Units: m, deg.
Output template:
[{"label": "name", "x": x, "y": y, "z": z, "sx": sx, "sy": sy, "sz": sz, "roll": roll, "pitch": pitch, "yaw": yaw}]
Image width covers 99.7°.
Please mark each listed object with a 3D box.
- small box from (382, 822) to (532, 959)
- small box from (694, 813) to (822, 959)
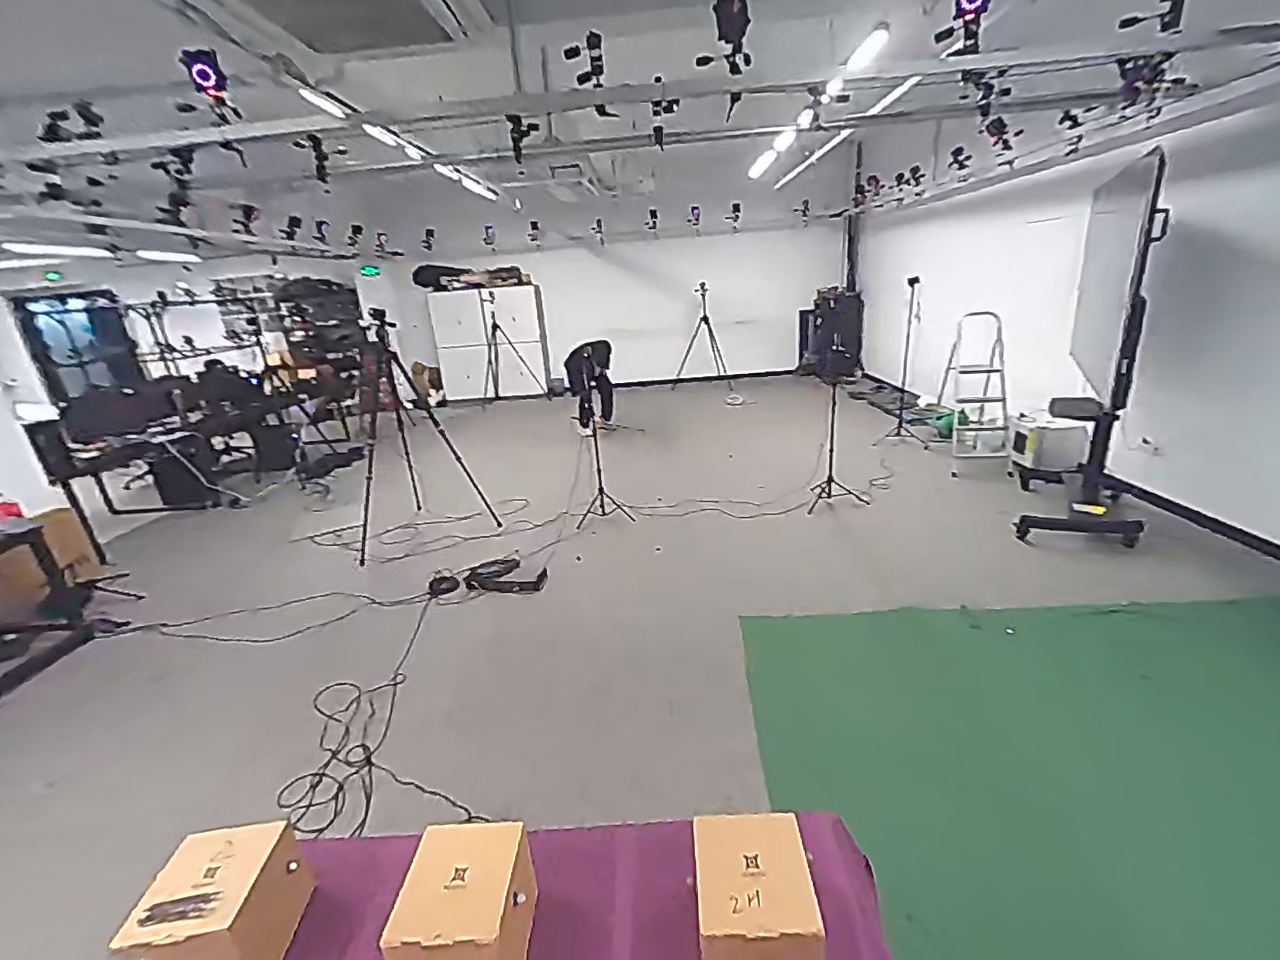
[{"label": "small box", "x": -0.270, "y": 0.675, "z": 0.845, "sx": 0.168, "sy": 0.176, "sz": 0.179, "roll": -3, "pitch": 21, "yaw": 2}, {"label": "small box", "x": 0.169, "y": 0.647, "z": 0.824, "sx": 0.168, "sy": 0.176, "sz": 0.179, "roll": -4, "pitch": 21, "yaw": 4}]
